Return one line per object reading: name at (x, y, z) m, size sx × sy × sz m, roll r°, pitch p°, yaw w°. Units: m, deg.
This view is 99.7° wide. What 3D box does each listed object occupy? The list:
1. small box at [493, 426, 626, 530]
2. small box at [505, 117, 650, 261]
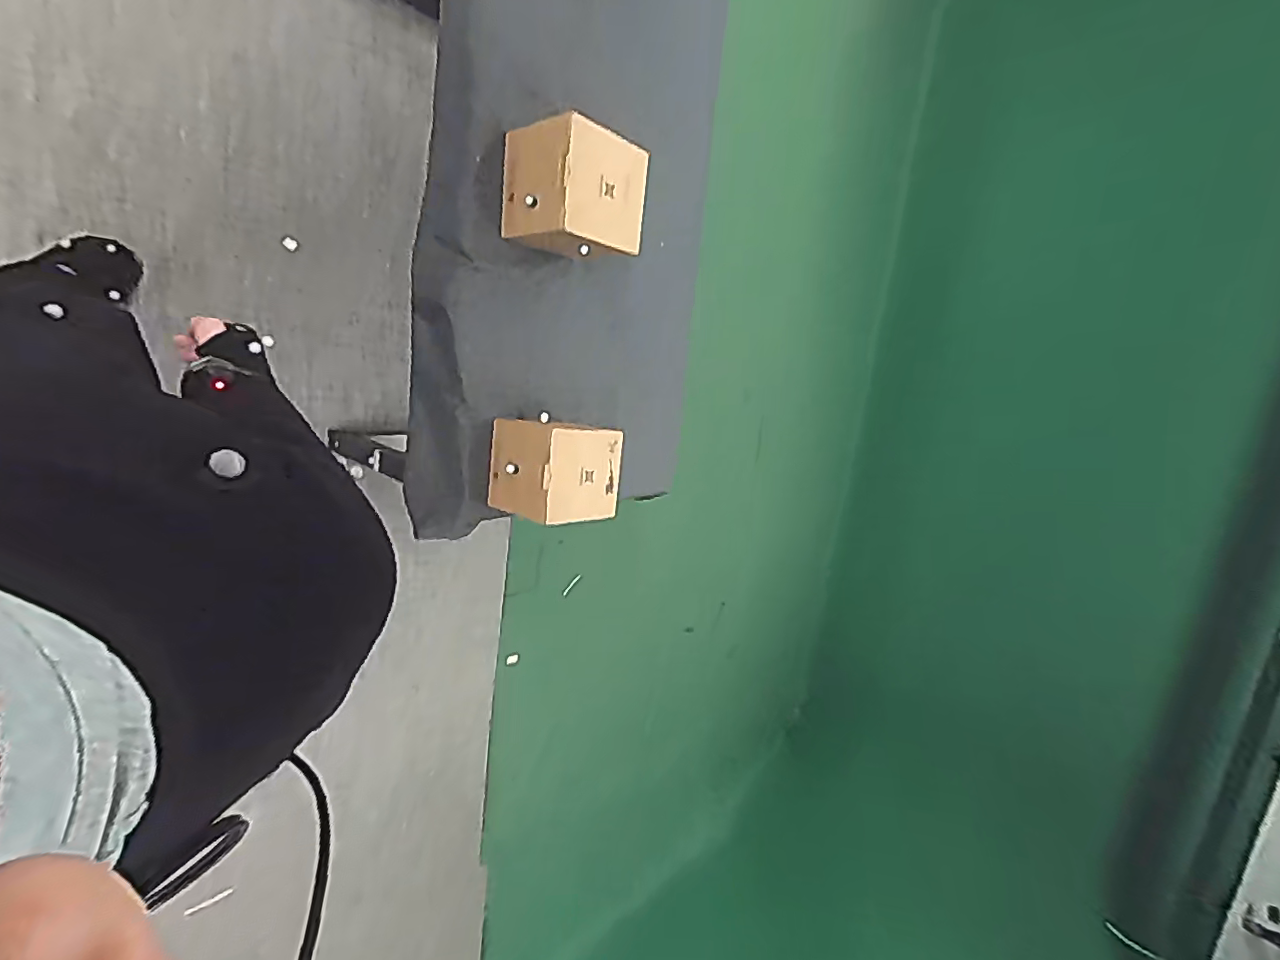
small box at (-0.151, -0.009, 0.997) m, size 0.179 × 0.176 × 0.168 m, roll -2°, pitch 101°, yaw -49°
small box at (-0.108, -0.472, 0.911) m, size 0.179 × 0.176 × 0.168 m, roll -8°, pitch 109°, yaw -49°
